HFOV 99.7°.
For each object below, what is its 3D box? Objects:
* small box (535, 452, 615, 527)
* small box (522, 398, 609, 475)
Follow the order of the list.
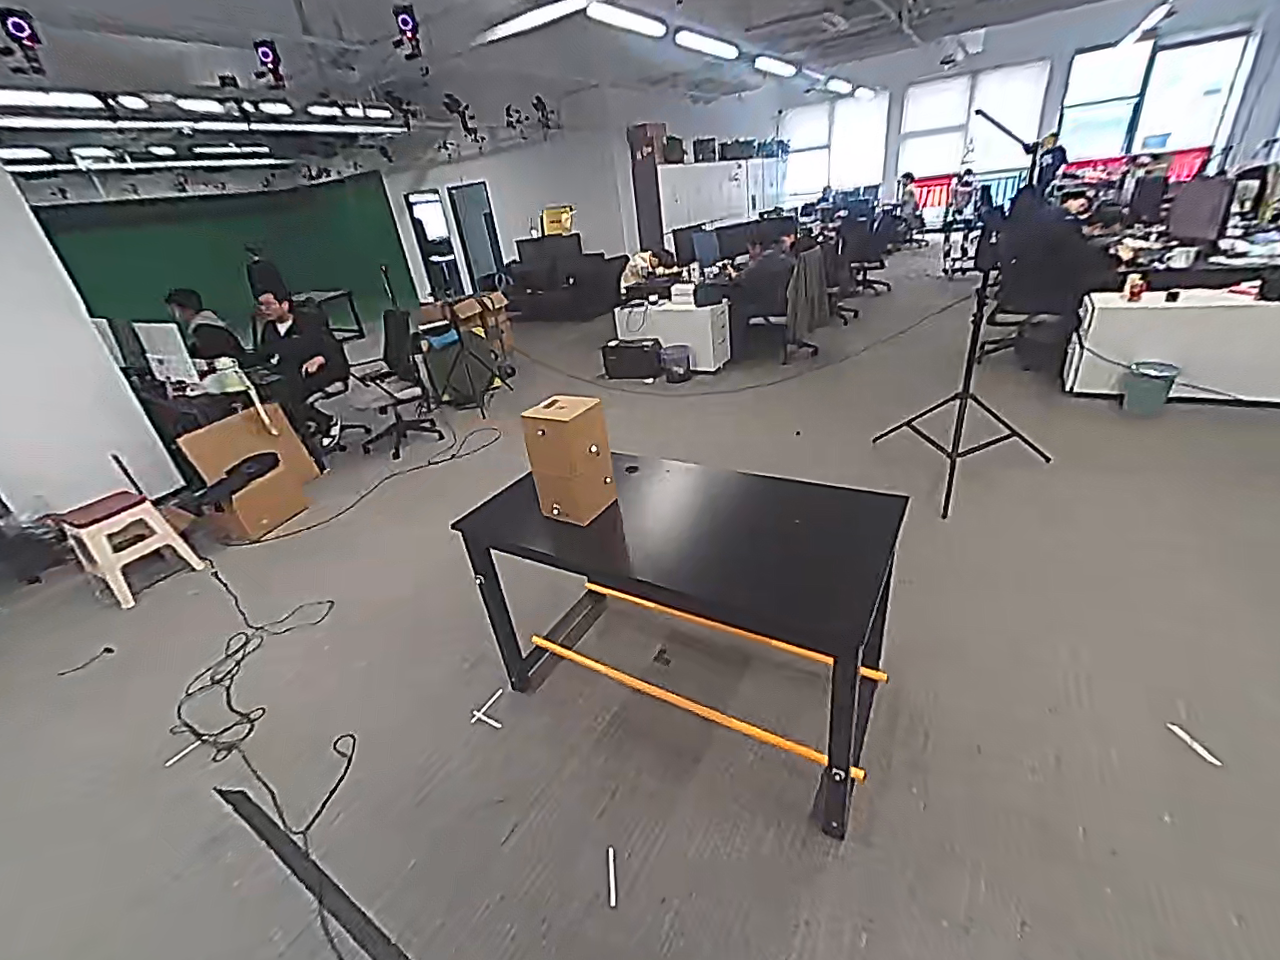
[{"bbox_3d":[-0.188,0.017,1.634,0.168,0.176,0.179,9,33,31],"label":"small box"},{"bbox_3d":[-0.209,-0.127,1.557,0.179,0.176,0.168,9,32,30],"label":"small box"}]
